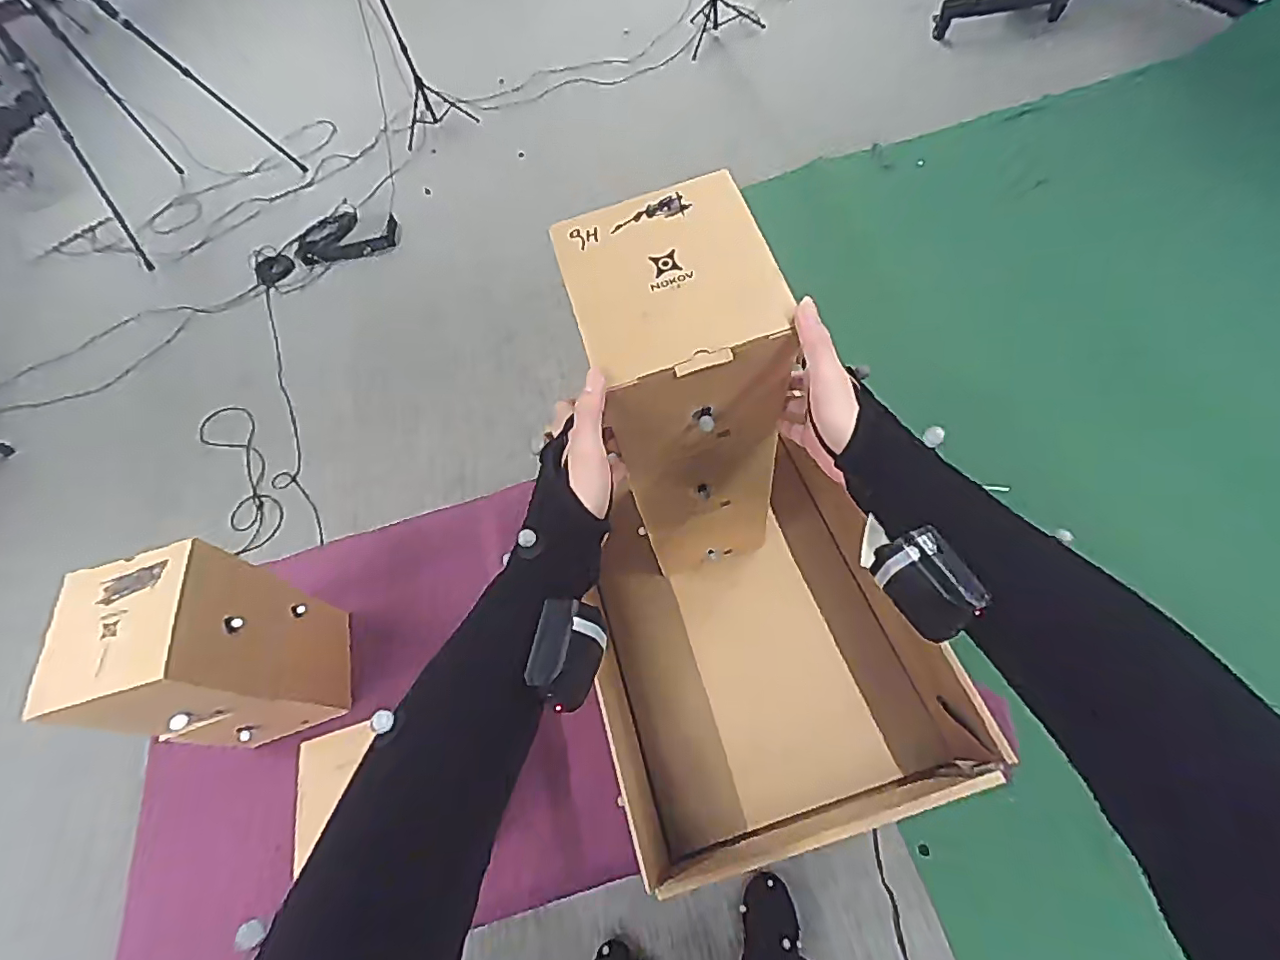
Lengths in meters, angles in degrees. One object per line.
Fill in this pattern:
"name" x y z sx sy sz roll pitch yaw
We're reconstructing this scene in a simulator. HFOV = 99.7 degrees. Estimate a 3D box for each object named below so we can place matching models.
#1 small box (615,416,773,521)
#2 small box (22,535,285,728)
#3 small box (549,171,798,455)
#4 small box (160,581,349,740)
"small box" 0.055 -0.065 0.666 0.168 0.176 0.179 -16 60 1
"small box" -0.591 0.198 0.690 0.168 0.176 0.179 -16 59 1
"small box" 0.030 -0.139 0.510 0.168 0.176 0.179 -17 69 0
"small box" -0.572 0.284 0.829 0.168 0.176 0.179 -20 58 -2
